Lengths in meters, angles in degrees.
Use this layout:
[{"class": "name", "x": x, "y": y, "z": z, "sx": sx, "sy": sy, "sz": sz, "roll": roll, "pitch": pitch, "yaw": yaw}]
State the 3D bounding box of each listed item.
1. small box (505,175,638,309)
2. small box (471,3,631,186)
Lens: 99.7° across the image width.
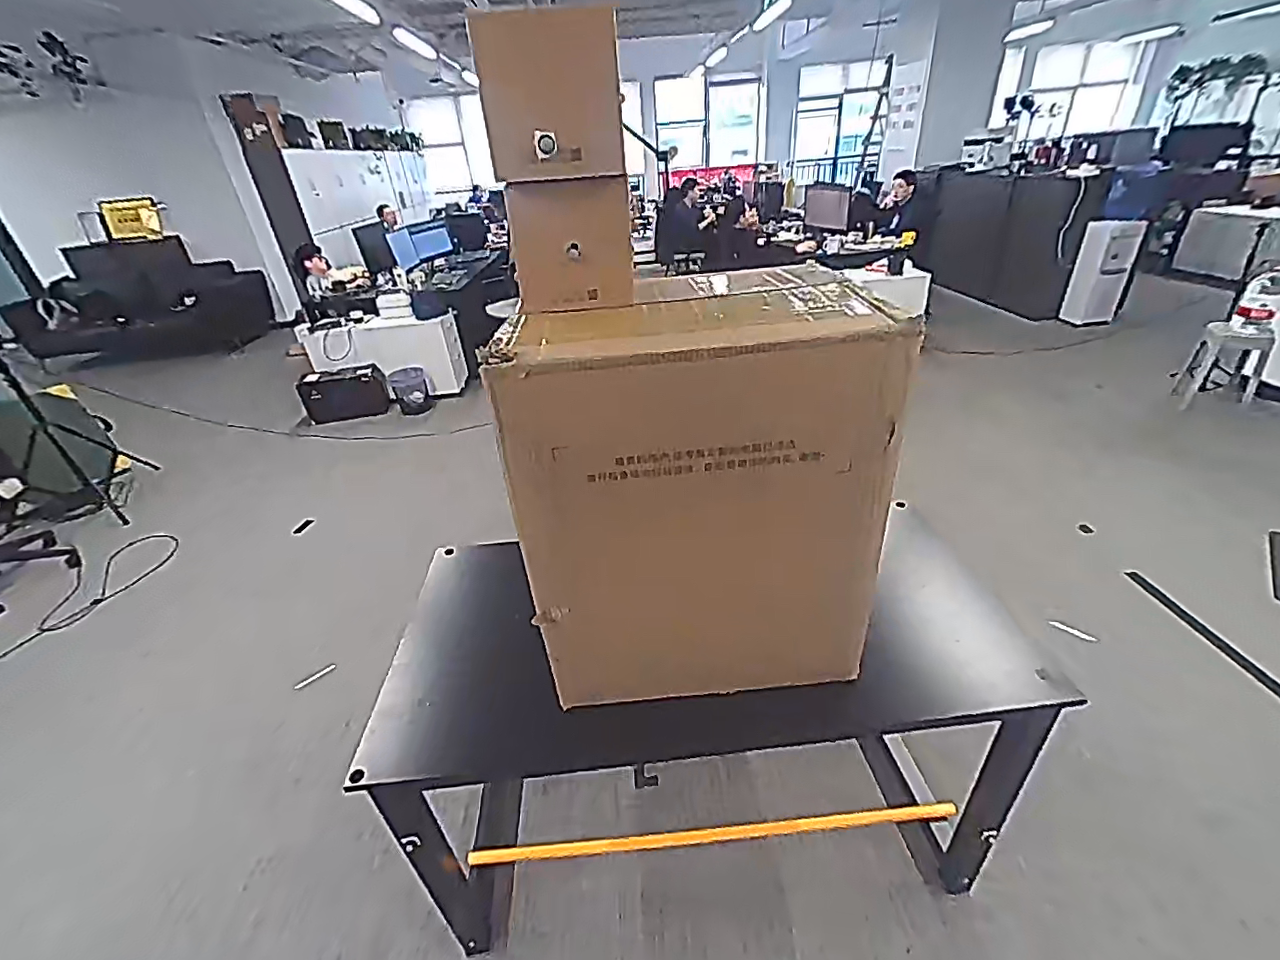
[{"class": "small box", "x": -0.093, "y": -0.357, "z": 0.808, "sx": 0.168, "sy": 0.176, "sz": 0.179, "roll": -5, "pitch": 31, "yaw": -2}, {"class": "small box", "x": -0.105, "y": -0.480, "z": 0.696, "sx": 0.168, "sy": 0.176, "sz": 0.179, "roll": -7, "pitch": 31, "yaw": -3}]
